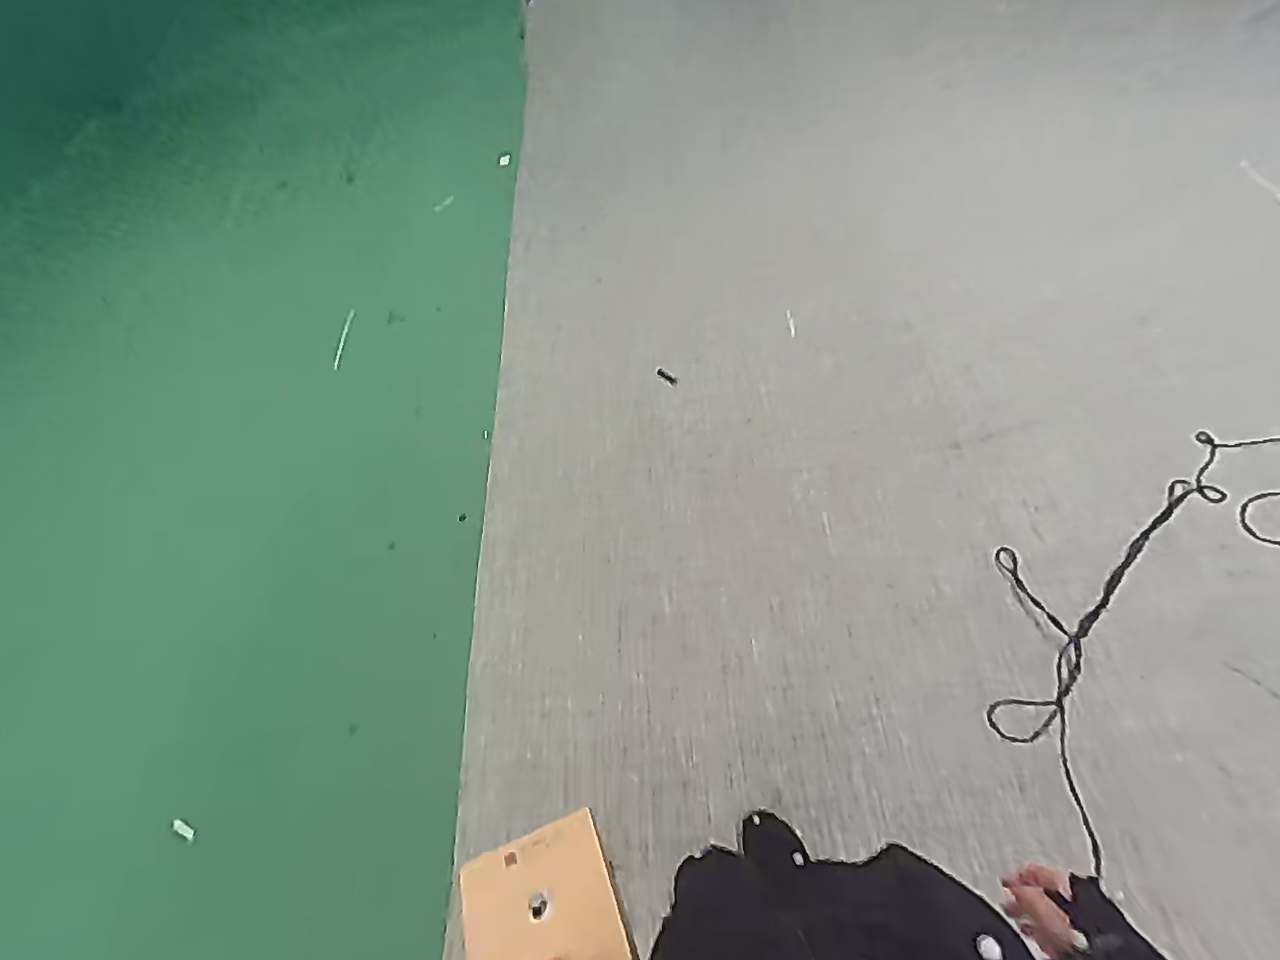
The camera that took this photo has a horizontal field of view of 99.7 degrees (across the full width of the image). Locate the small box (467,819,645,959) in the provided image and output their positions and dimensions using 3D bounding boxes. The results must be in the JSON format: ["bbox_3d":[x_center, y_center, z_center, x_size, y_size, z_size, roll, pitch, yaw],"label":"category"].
[{"bbox_3d":[-0.094,0.545,0.643,0.168,0.179,0.176,-20,35,-13],"label":"small box"}]
